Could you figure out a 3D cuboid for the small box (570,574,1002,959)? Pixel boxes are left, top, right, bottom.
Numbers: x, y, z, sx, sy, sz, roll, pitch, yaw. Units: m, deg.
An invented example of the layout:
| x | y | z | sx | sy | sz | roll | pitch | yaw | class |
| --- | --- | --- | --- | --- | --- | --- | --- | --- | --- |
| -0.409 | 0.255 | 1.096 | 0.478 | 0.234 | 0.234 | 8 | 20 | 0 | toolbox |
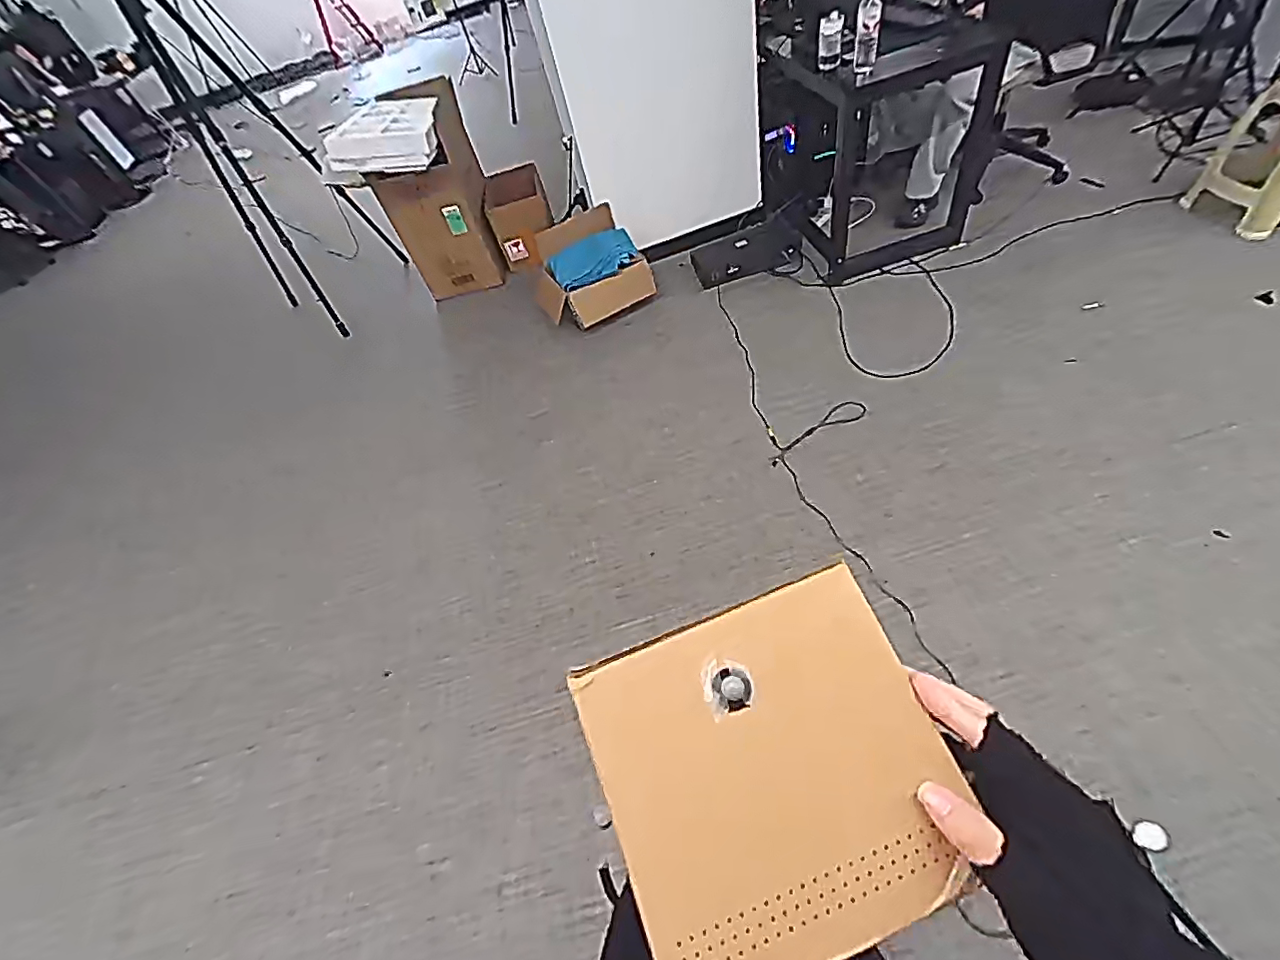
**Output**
| x | y | z | sx | sy | sz | roll | pitch | yaw | class |
| --- | --- | --- | --- | --- | --- | --- | --- | --- | --- |
| 0.075 | 0.185 | 0.350 | 0.179 | 0.168 | 0.176 | -21 | 68 | -5 | small box |
